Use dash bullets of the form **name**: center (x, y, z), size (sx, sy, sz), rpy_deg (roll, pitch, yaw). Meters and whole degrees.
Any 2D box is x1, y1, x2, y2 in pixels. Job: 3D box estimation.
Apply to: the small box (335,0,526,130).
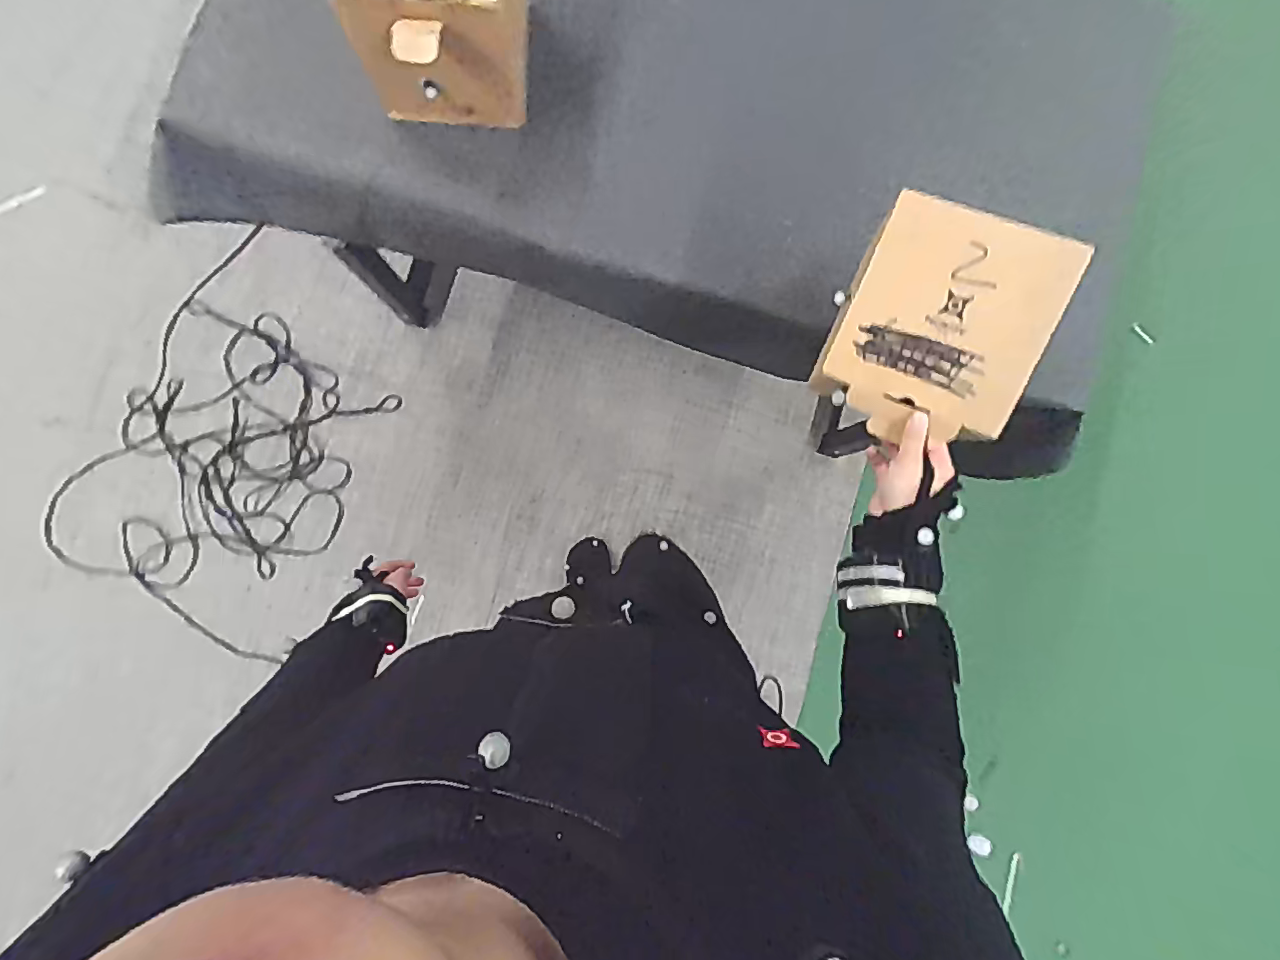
- **small box**: center (-0.219, -0.531, 0.594), size (0.168, 0.176, 0.179), rpy_deg (1, 86, -5)
